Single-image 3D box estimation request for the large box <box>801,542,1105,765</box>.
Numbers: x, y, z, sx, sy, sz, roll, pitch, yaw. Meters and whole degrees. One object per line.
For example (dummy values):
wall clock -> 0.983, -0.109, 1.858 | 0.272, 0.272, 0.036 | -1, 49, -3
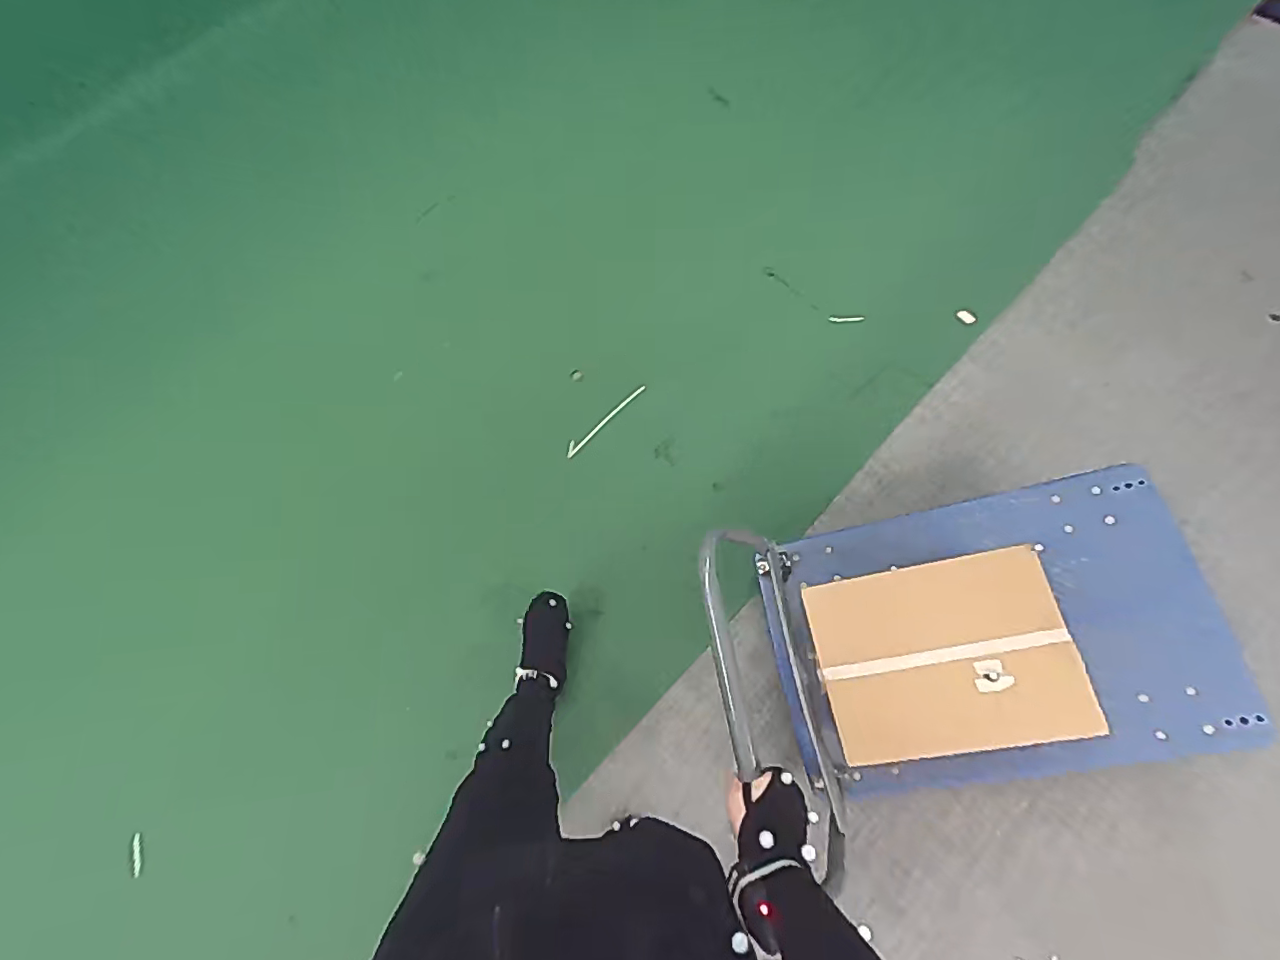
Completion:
large box -> 0.561, 0.341, 1.076 | 0.408, 0.320, 0.320 | -15, 71, 12
